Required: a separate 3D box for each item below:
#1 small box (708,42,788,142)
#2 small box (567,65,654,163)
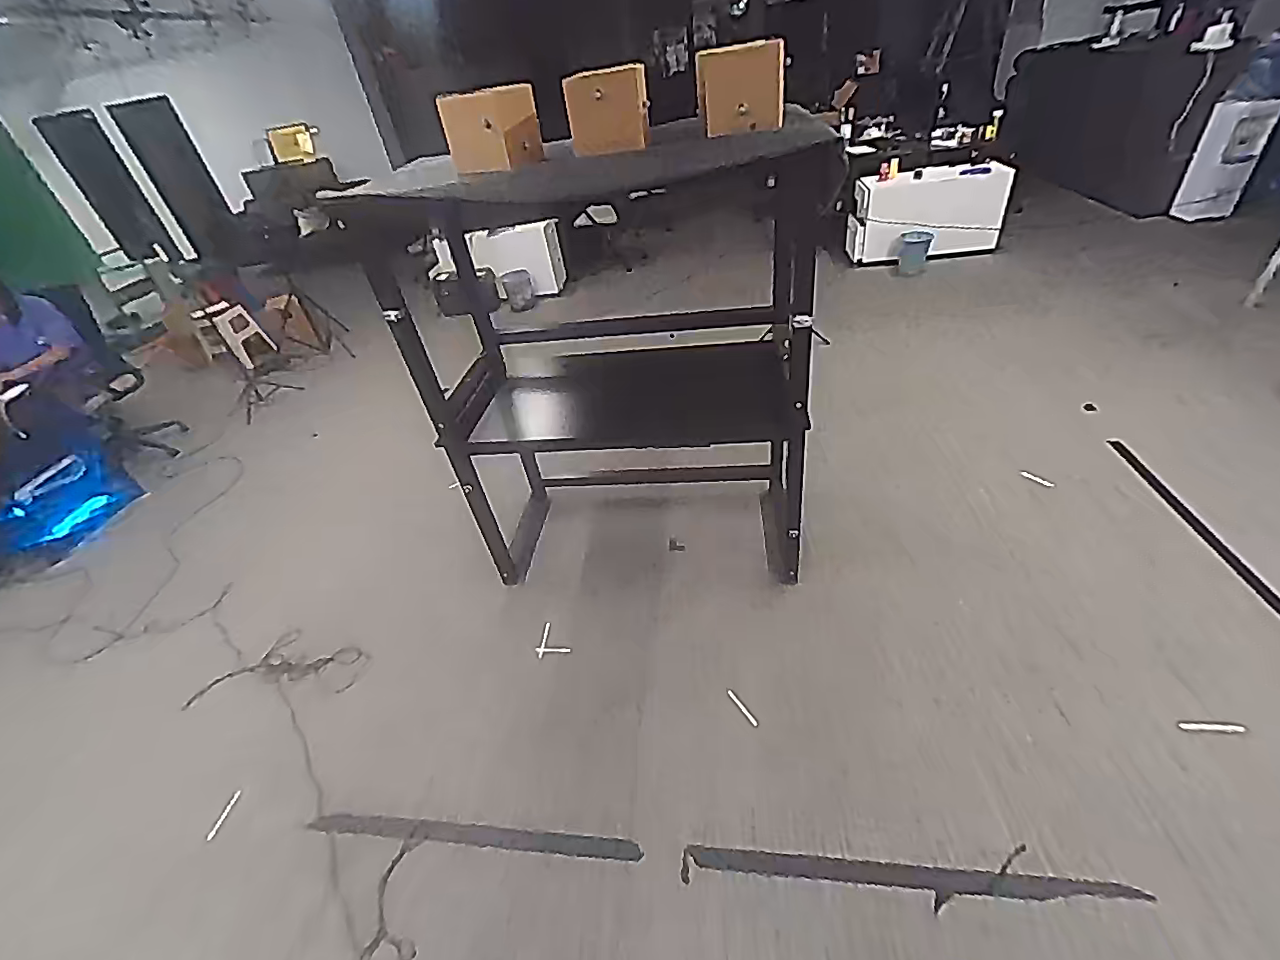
[{"bbox_3d":[0.255,-0.905,1.264,0.168,0.176,0.179,2,40,16],"label":"small box"},{"bbox_3d":[-0.063,-0.899,1.330,0.179,0.176,0.168,-2,39,10],"label":"small box"}]
